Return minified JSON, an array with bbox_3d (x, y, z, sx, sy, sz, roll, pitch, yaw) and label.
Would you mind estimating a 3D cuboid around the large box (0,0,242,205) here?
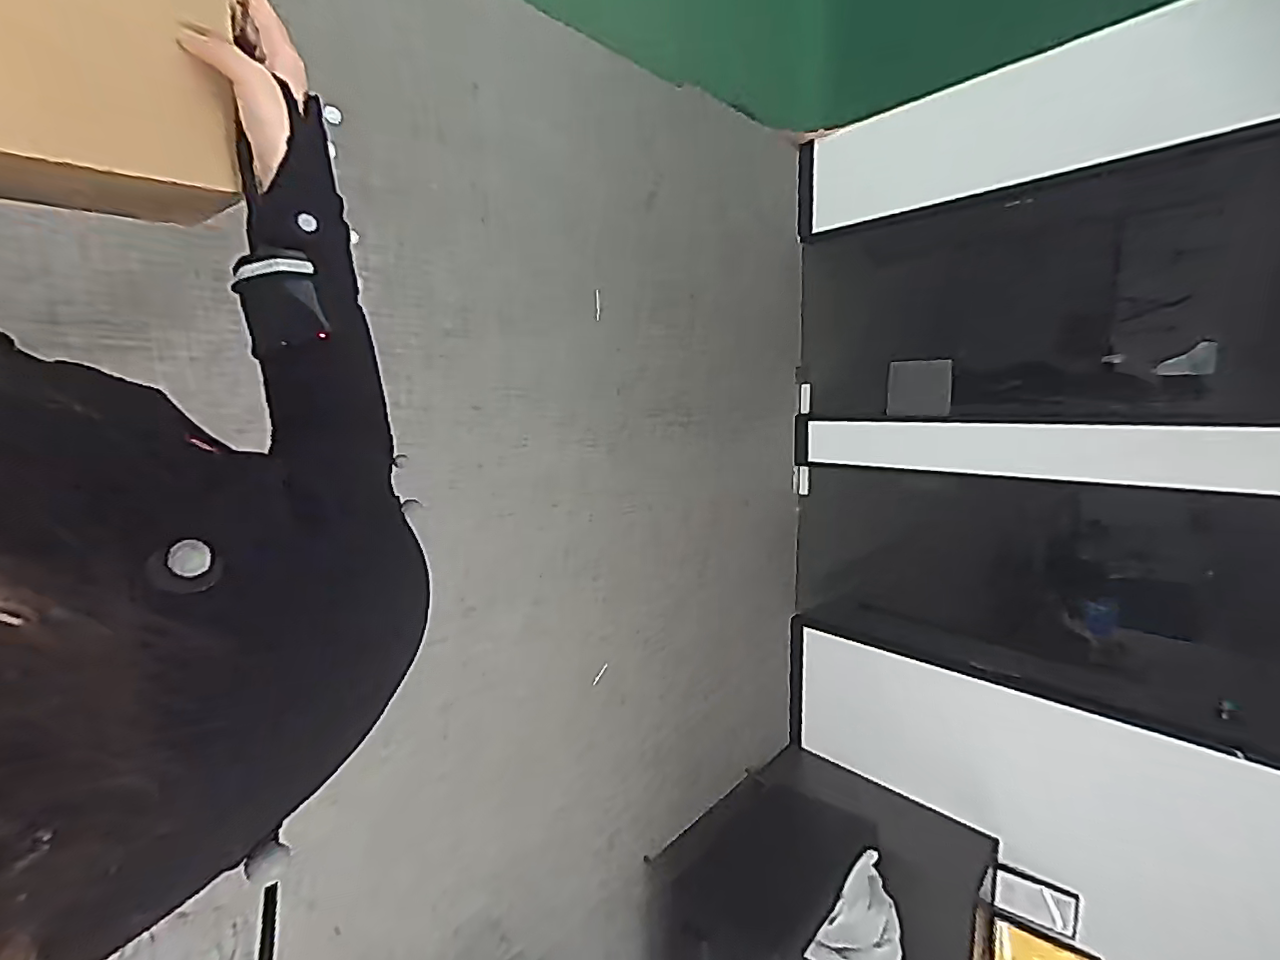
[{"bbox_3d":[-0.543,-0.385,0.347,0.408,0.320,0.320,-11,112,-41],"label":"large box"}]
